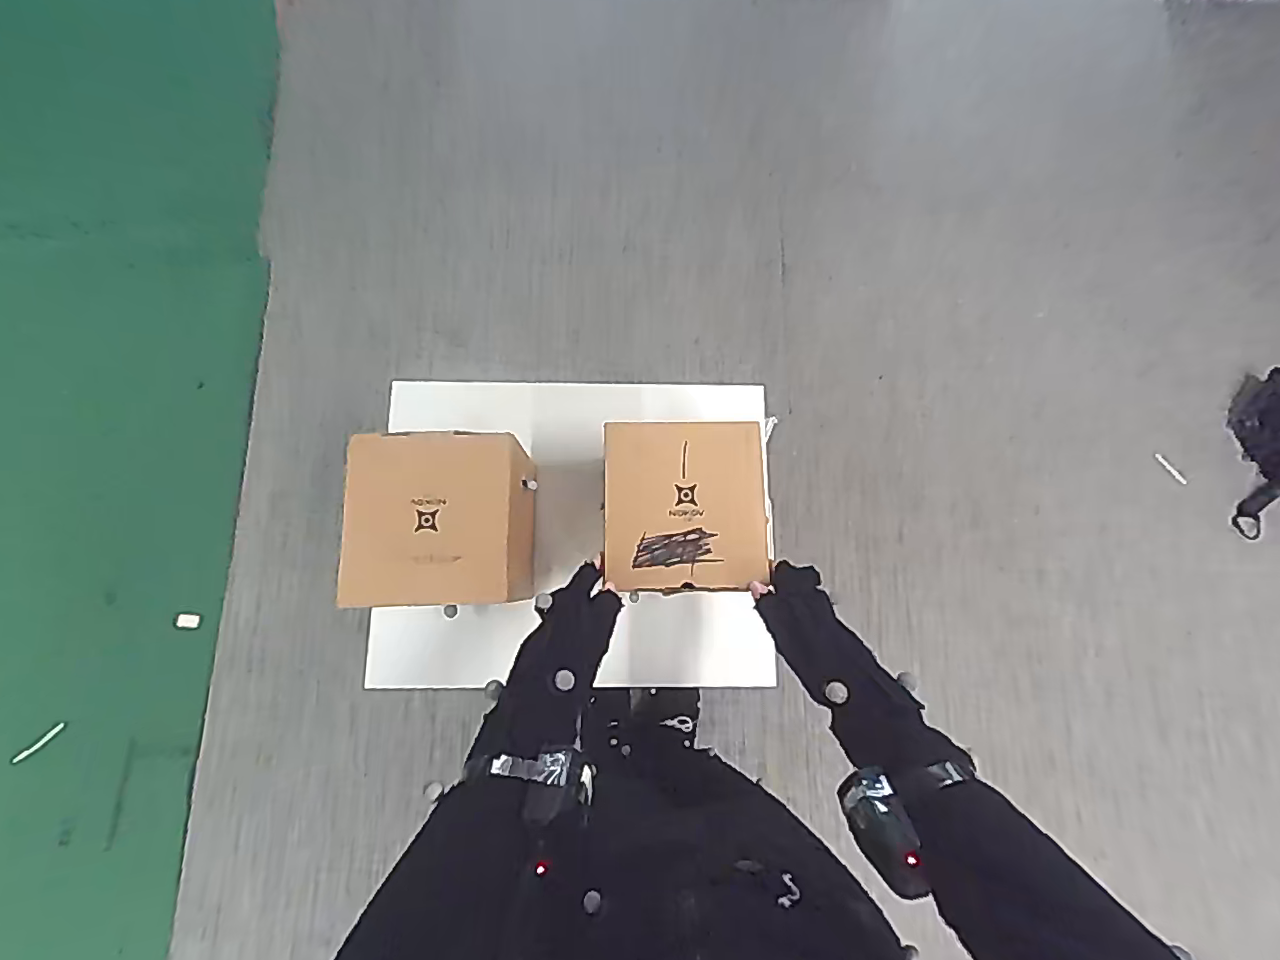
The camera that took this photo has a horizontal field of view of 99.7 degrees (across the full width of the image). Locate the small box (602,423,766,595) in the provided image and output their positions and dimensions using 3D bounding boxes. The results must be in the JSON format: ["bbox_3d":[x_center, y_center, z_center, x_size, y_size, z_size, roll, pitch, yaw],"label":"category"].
[{"bbox_3d":[0.044,0.041,0.629,0.168,0.176,0.179,-1,78,-1],"label":"small box"}]

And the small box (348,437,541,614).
[{"bbox_3d":[-0.210,0.057,0.625,0.168,0.176,0.179,-3,81,-1],"label":"small box"}]
